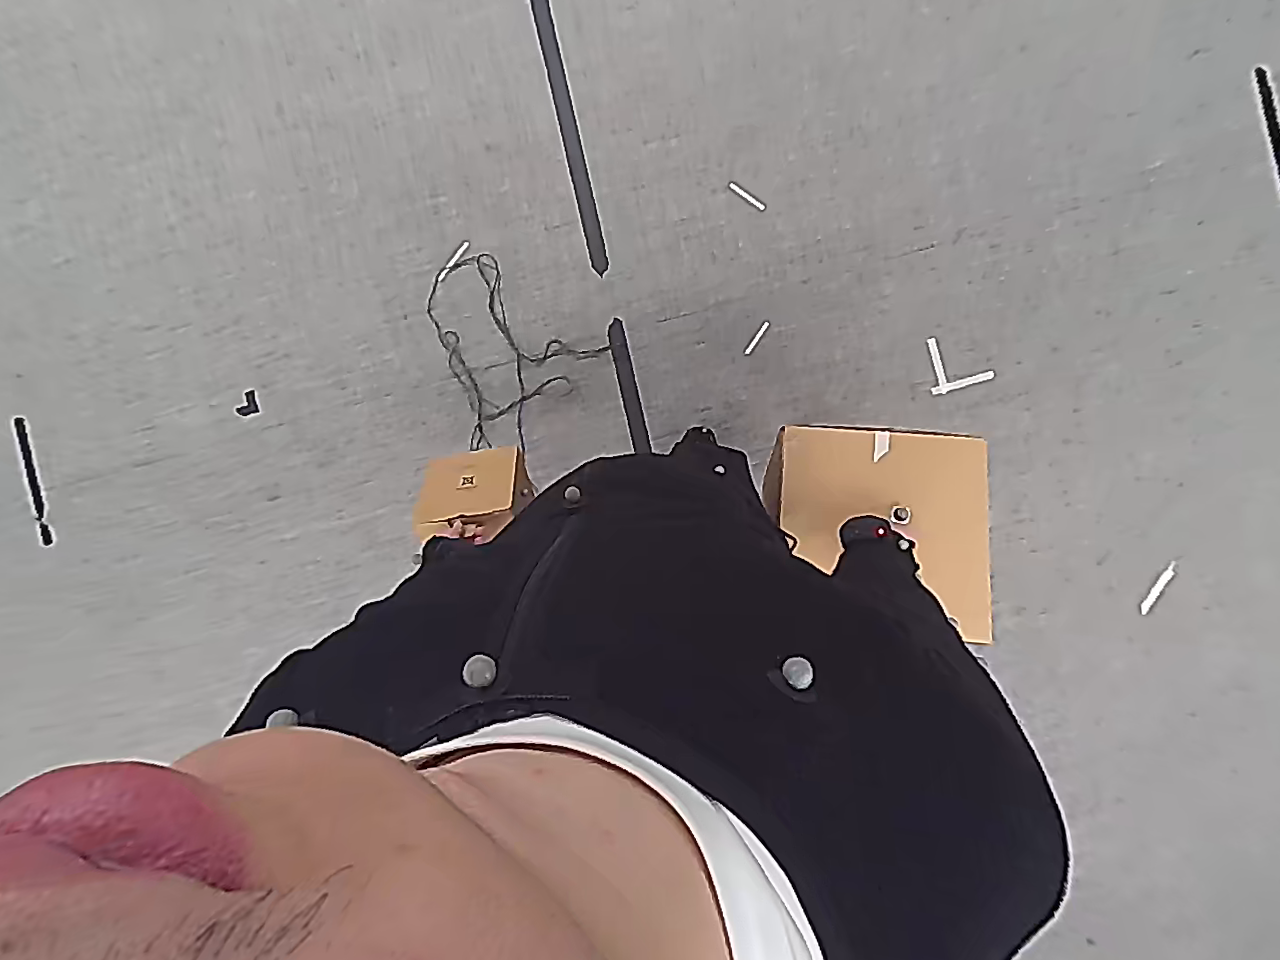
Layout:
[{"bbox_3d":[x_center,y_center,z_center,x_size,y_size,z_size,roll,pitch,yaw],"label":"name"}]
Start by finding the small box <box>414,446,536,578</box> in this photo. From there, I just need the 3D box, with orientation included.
[{"bbox_3d":[-0.291,0.065,0.996,0.168,0.179,0.176,-9,131,-2],"label":"small box"}]
